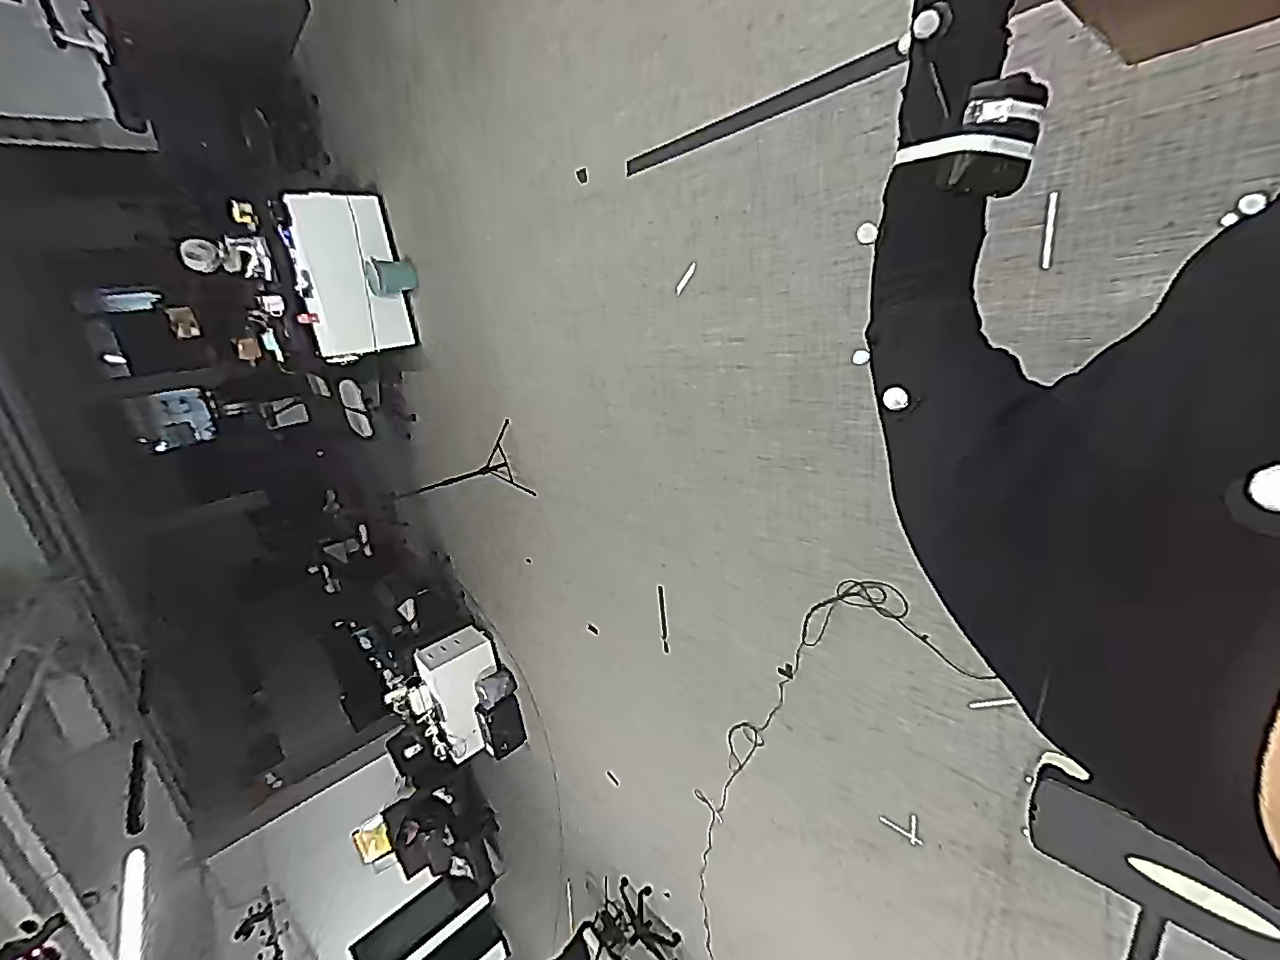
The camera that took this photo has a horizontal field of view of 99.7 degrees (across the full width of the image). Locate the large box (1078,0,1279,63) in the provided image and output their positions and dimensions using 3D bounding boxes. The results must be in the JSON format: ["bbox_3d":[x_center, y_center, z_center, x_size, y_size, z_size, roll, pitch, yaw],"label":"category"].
[{"bbox_3d":[0.466,-0.468,0.238,0.408,0.320,0.320,8,117,44],"label":"large box"}]
